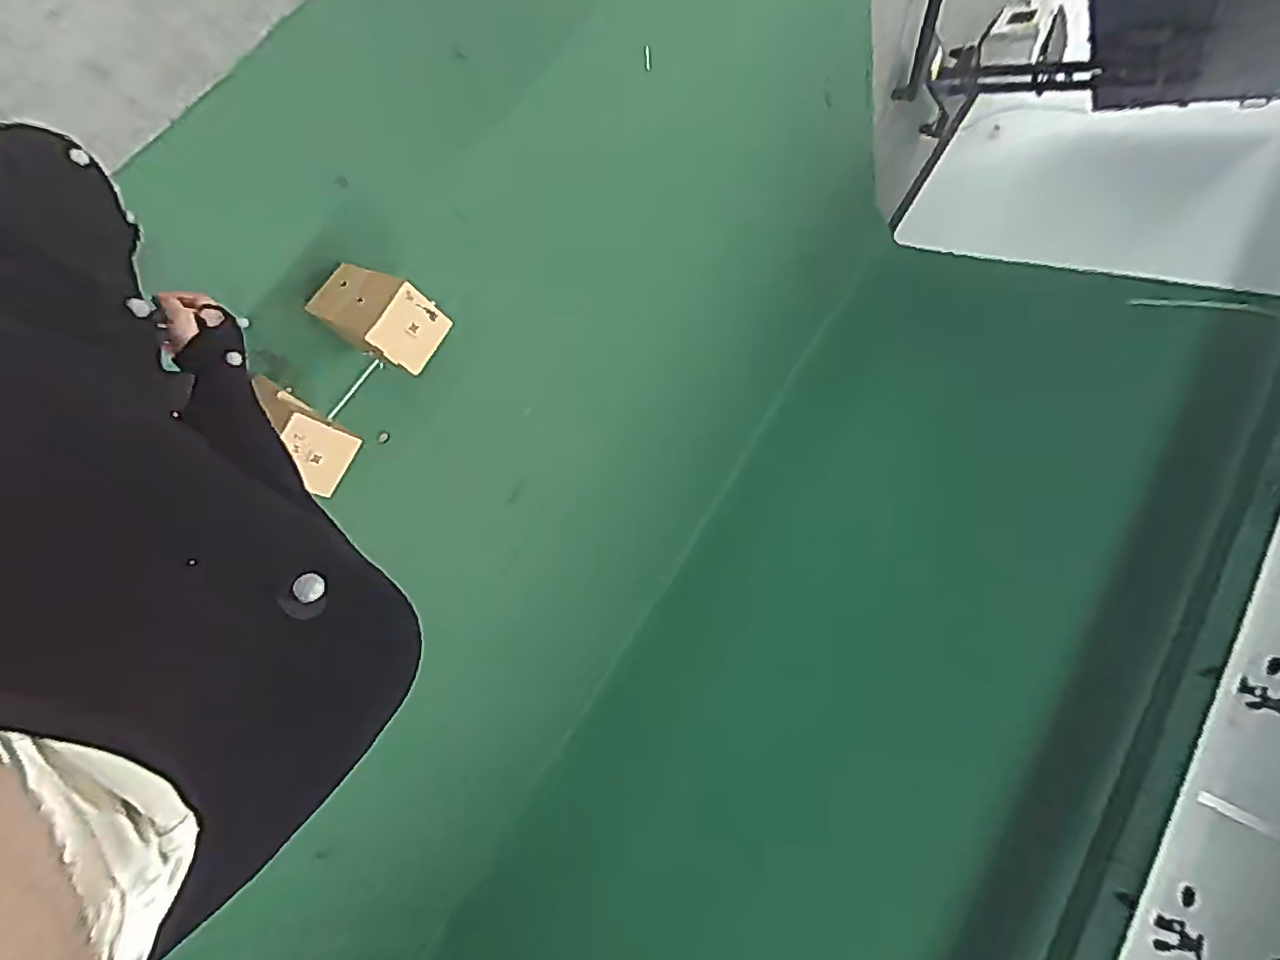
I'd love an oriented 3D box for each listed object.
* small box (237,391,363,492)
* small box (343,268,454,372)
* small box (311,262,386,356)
[{"bbox_3d":[-0.828,-0.096,1.318,0.168,0.176,0.179,-61,146,-4],"label":"small box"},{"bbox_3d":[-0.622,-0.411,1.380,0.179,0.176,0.168,-58,147,-8],"label":"small box"},{"bbox_3d":[-0.746,-0.469,1.469,0.168,0.176,0.179,-57,146,-10],"label":"small box"}]
